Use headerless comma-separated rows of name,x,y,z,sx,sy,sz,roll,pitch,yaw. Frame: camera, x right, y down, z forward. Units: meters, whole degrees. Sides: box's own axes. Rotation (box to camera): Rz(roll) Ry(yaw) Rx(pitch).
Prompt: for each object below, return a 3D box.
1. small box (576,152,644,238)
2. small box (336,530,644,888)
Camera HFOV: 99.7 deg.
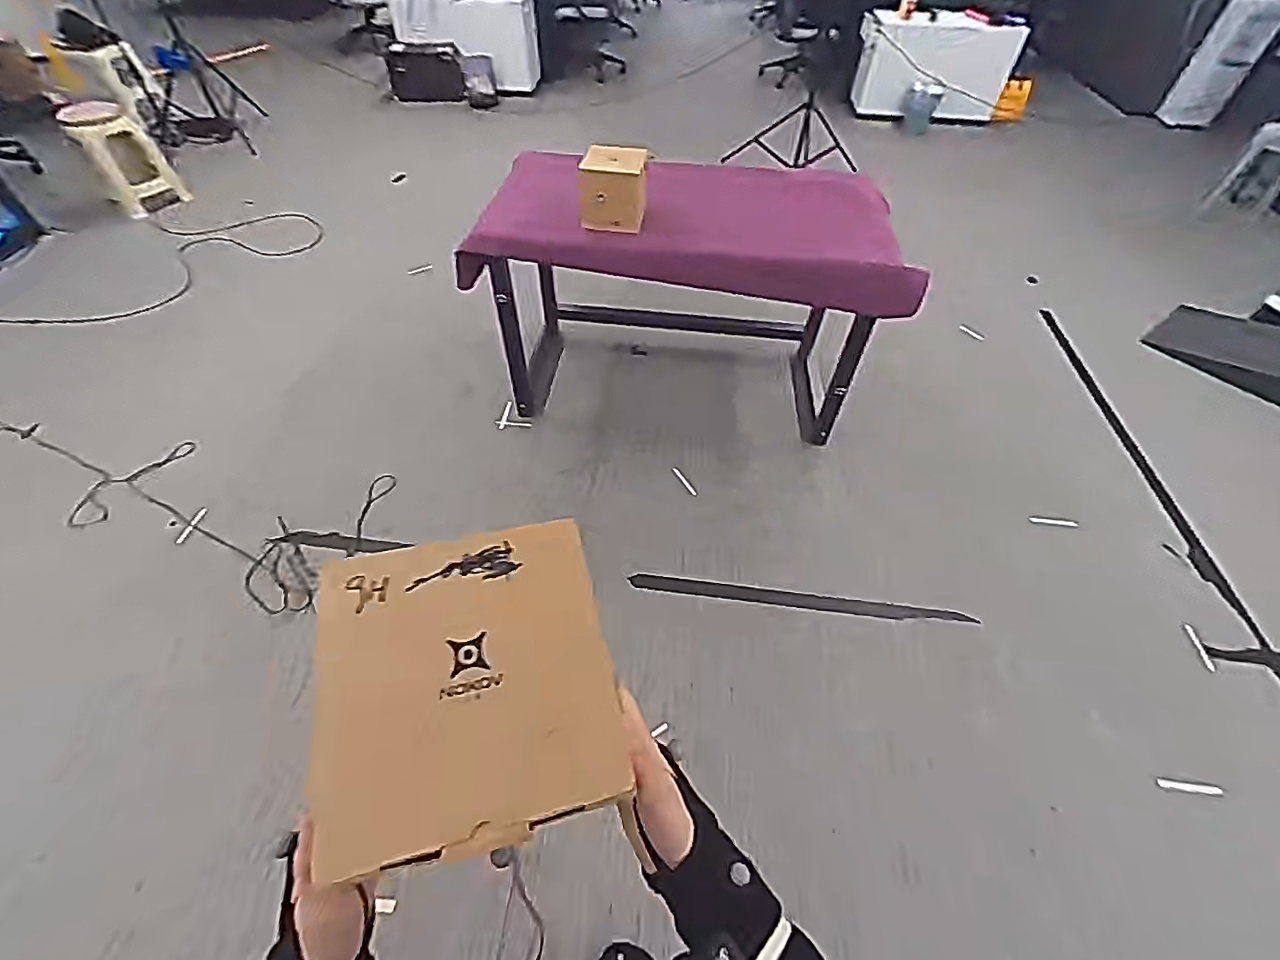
small box,-0.082,-0.822,1.562,0.168,0.176,0.179,7,50,3
small box,-0.102,0.160,0.395,0.168,0.176,0.179,-8,60,-13
